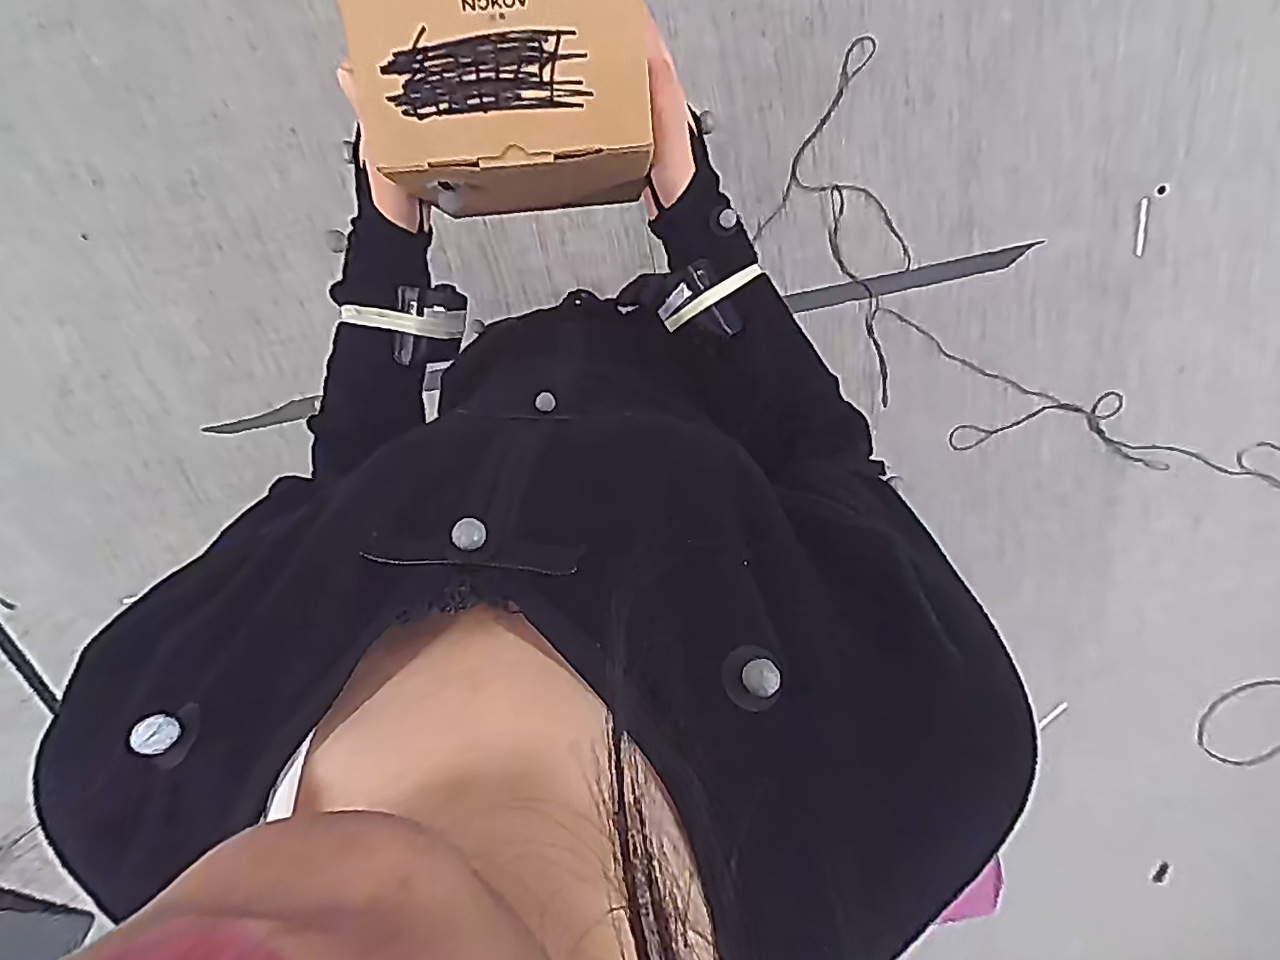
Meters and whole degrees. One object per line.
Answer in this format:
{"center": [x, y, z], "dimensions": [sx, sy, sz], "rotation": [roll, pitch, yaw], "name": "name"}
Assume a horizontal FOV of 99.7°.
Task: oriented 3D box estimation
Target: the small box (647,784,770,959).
{"center": [0.111, 0.659, 0.916], "dimensions": [0.168, 0.176, 0.179], "rotation": [-11, 111, -2], "name": "small box"}
